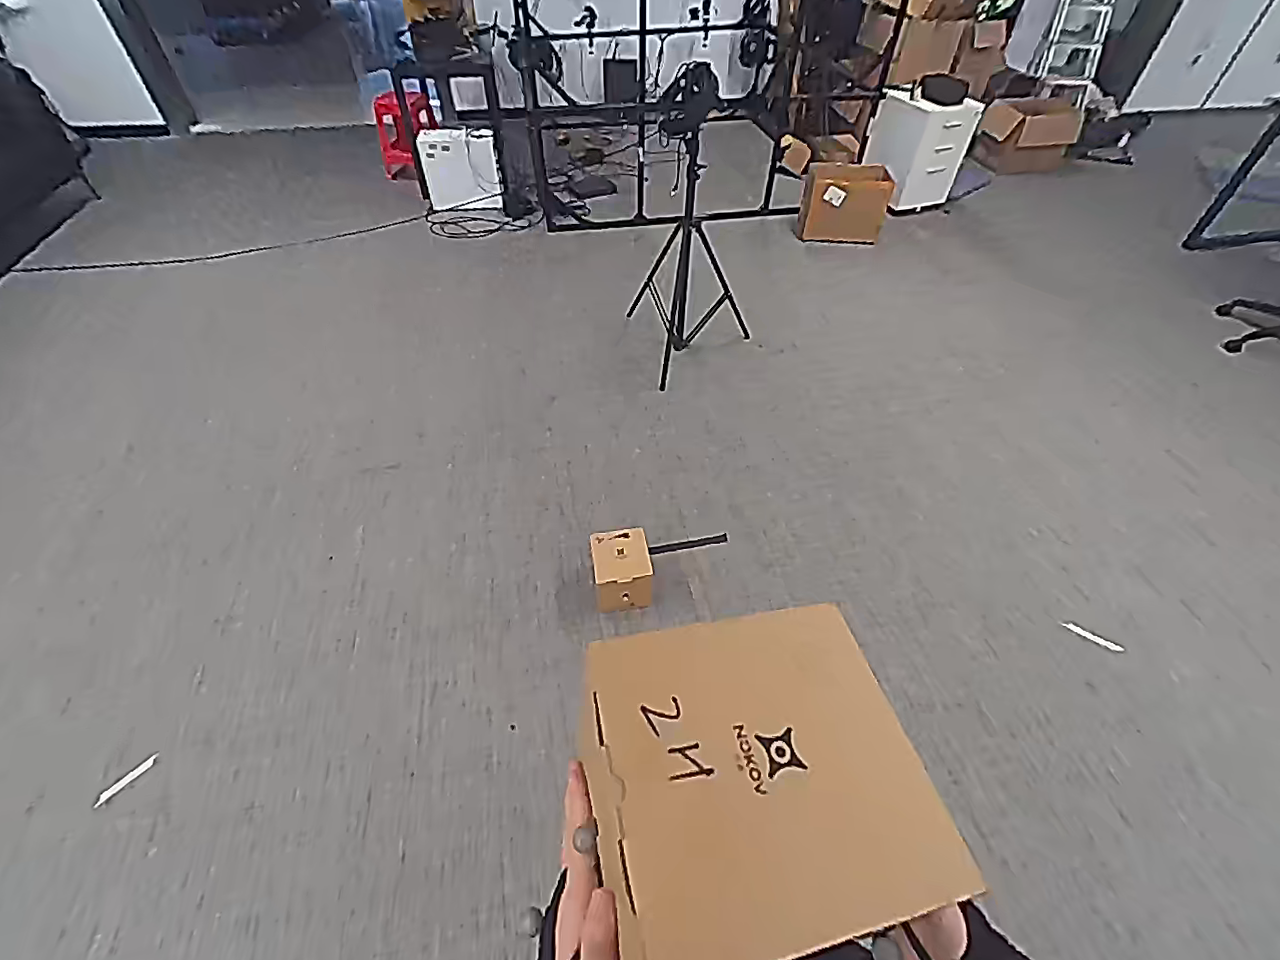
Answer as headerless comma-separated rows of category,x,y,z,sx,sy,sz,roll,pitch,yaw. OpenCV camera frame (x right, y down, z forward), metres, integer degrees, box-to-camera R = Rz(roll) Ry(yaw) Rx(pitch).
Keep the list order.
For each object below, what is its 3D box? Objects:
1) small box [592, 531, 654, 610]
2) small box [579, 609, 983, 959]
small box,-0.051,0.280,1.634,0.168,0.176,0.179,-6,49,-7
small box,0.060,0.208,0.353,0.179,0.176,0.168,-5,47,-14
